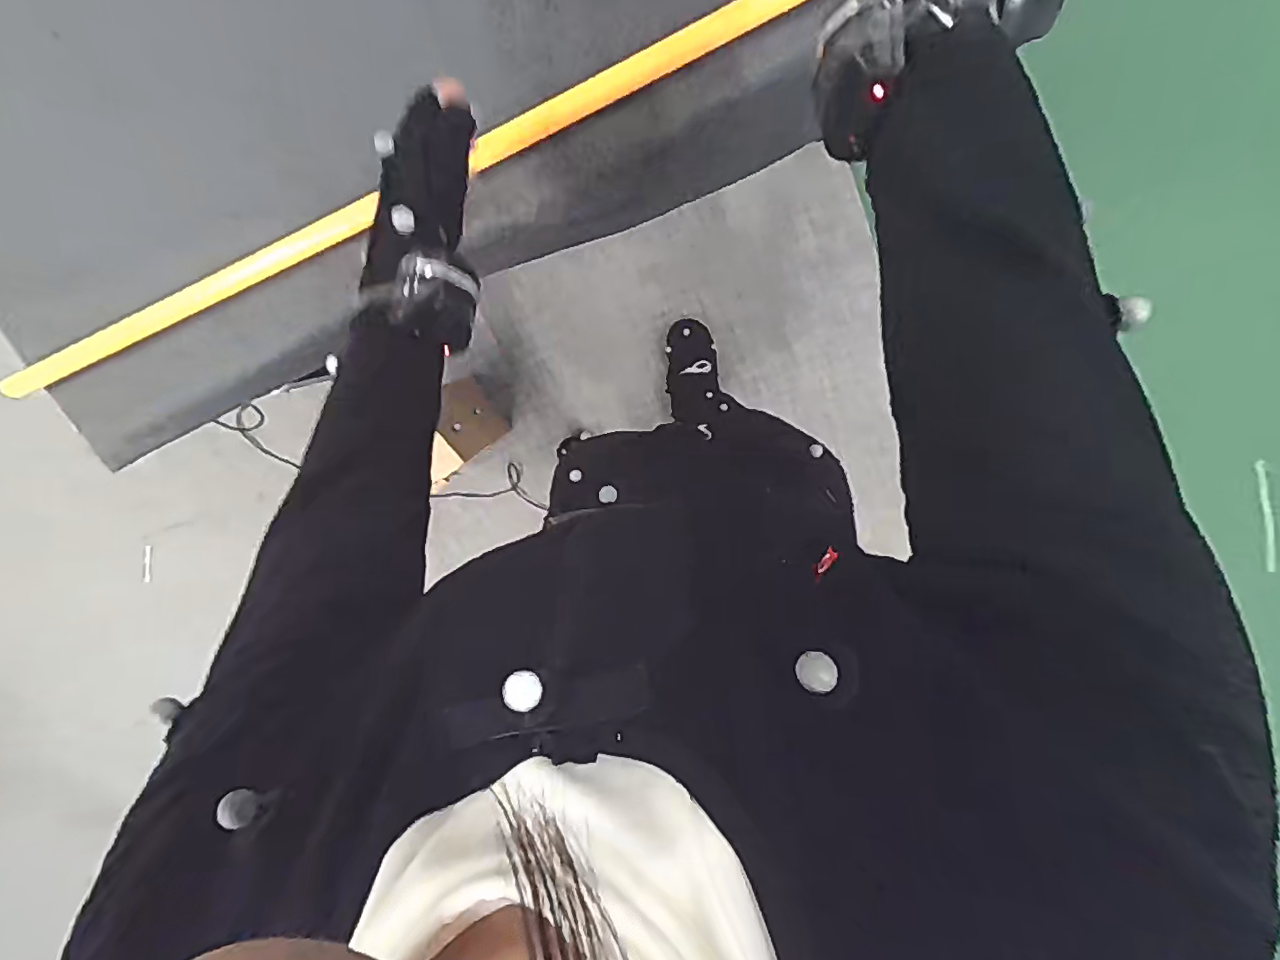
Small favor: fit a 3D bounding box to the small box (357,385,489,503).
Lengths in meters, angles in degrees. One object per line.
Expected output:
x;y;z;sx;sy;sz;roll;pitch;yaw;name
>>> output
-0.466;-0.086;1.192;0.168;0.176;0.179;-37;102;18;small box
